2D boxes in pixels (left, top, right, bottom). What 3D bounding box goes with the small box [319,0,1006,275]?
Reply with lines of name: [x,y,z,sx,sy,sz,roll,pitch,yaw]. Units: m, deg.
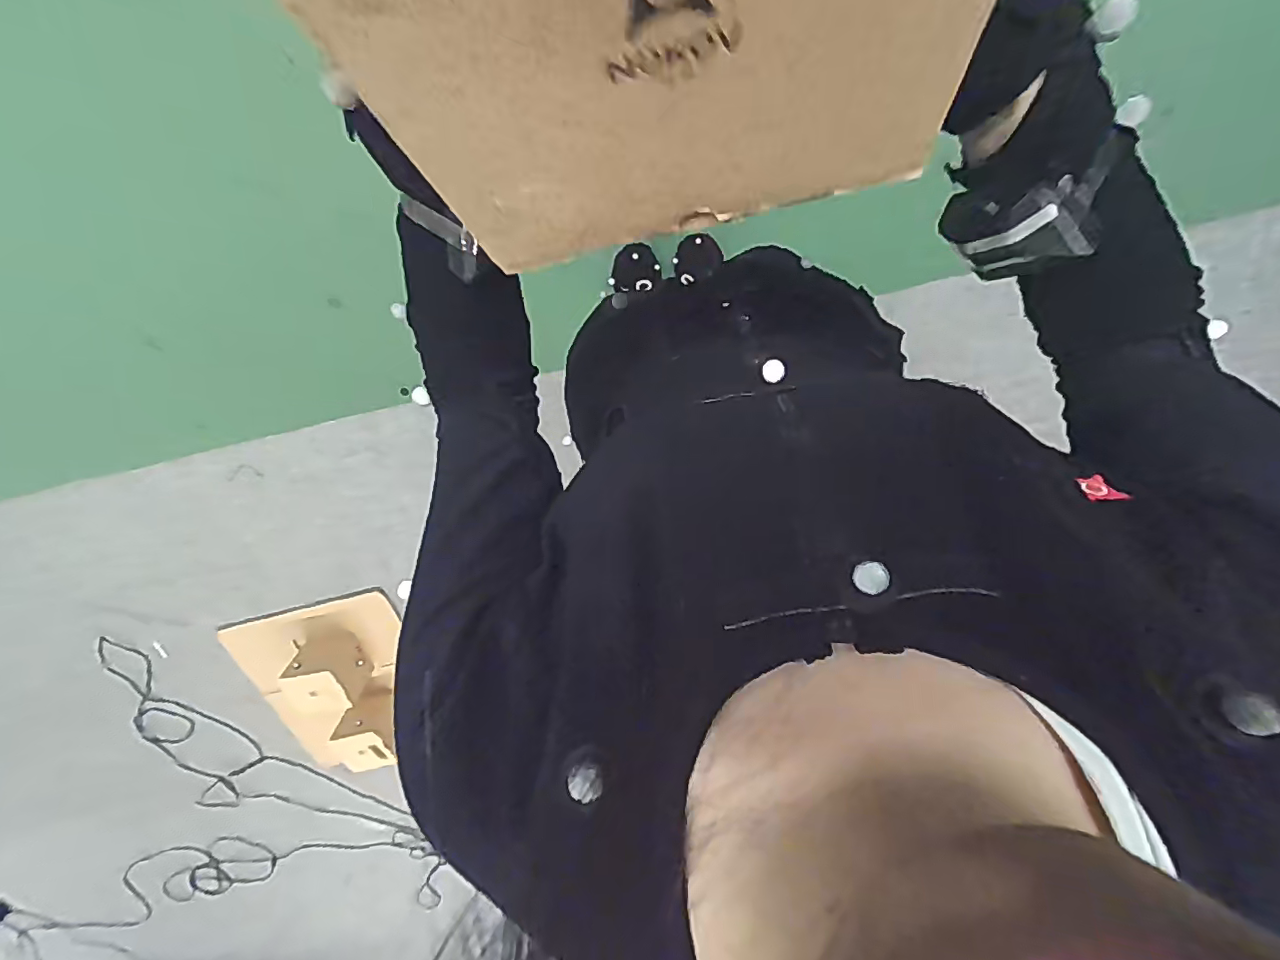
small box: [0.002,-0.193,0.152,0.168,0.179,0.176,-10,80,8]

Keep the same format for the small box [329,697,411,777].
small box: [-0.913,0.876,1.856,0.179,0.176,0.168,-16,114,7]

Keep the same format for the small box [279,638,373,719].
small box: [-1.004,0.635,1.745,0.179,0.176,0.168,-11,116,3]
